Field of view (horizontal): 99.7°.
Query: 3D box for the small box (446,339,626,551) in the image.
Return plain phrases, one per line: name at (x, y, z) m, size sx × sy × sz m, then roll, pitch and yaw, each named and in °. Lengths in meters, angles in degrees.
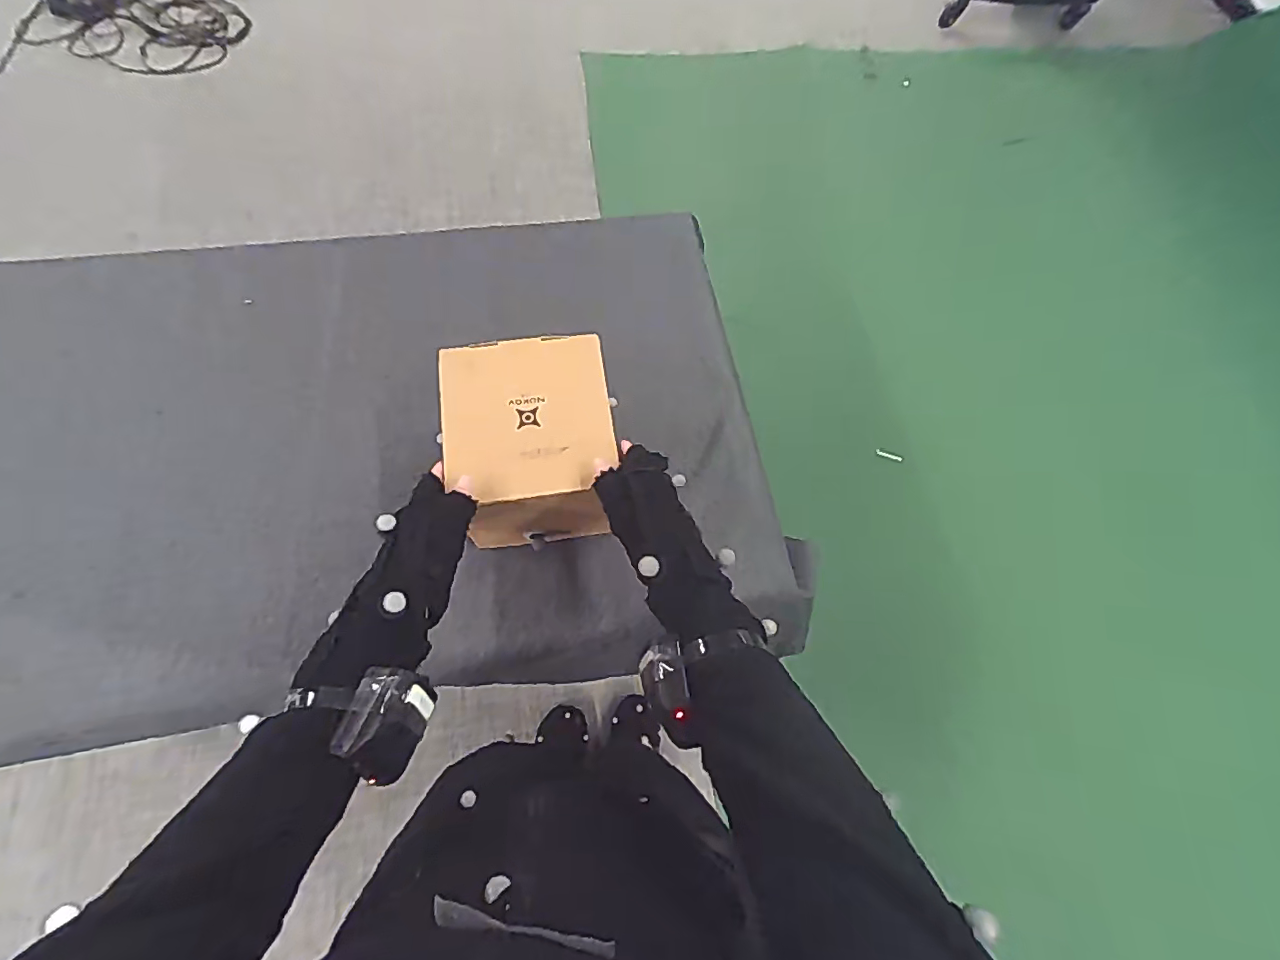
small box at (-0.112, -0.032, 0.611) m, size 0.168 × 0.176 × 0.179 m, roll -9°, pitch 71°, yaw -6°
